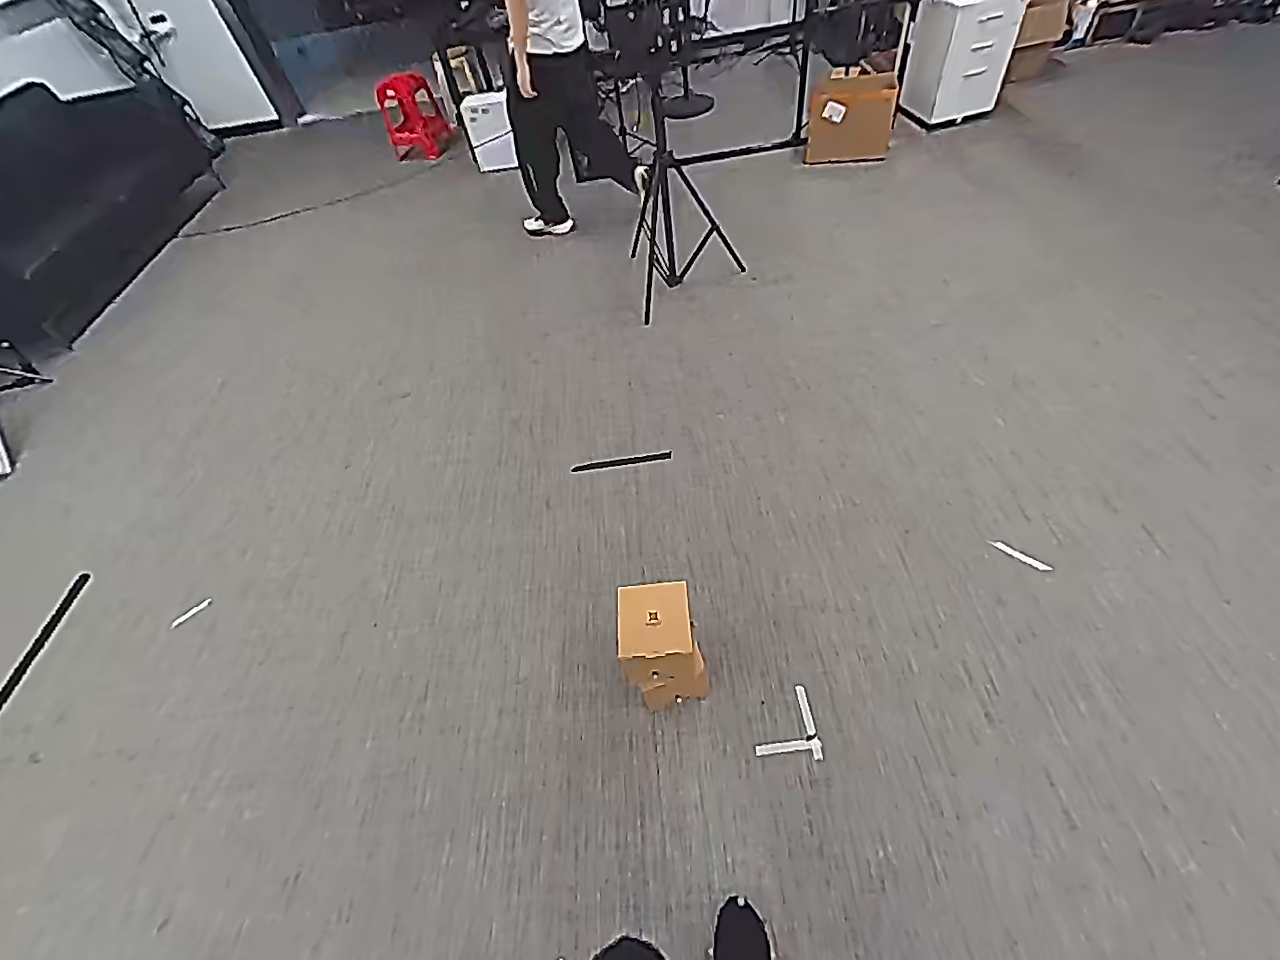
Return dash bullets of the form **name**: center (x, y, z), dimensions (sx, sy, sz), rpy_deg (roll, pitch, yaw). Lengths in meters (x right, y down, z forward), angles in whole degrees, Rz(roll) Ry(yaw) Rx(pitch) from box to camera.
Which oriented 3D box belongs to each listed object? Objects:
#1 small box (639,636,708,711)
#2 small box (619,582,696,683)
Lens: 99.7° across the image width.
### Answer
- **small box**: center (0.070, 0.469, 1.404), dimensions (0.168, 0.176, 0.179), rpy_deg (-17, 51, -3)
- **small box**: center (0.042, 0.364, 1.283), dimensions (0.168, 0.176, 0.179), rpy_deg (-7, 51, 4)
